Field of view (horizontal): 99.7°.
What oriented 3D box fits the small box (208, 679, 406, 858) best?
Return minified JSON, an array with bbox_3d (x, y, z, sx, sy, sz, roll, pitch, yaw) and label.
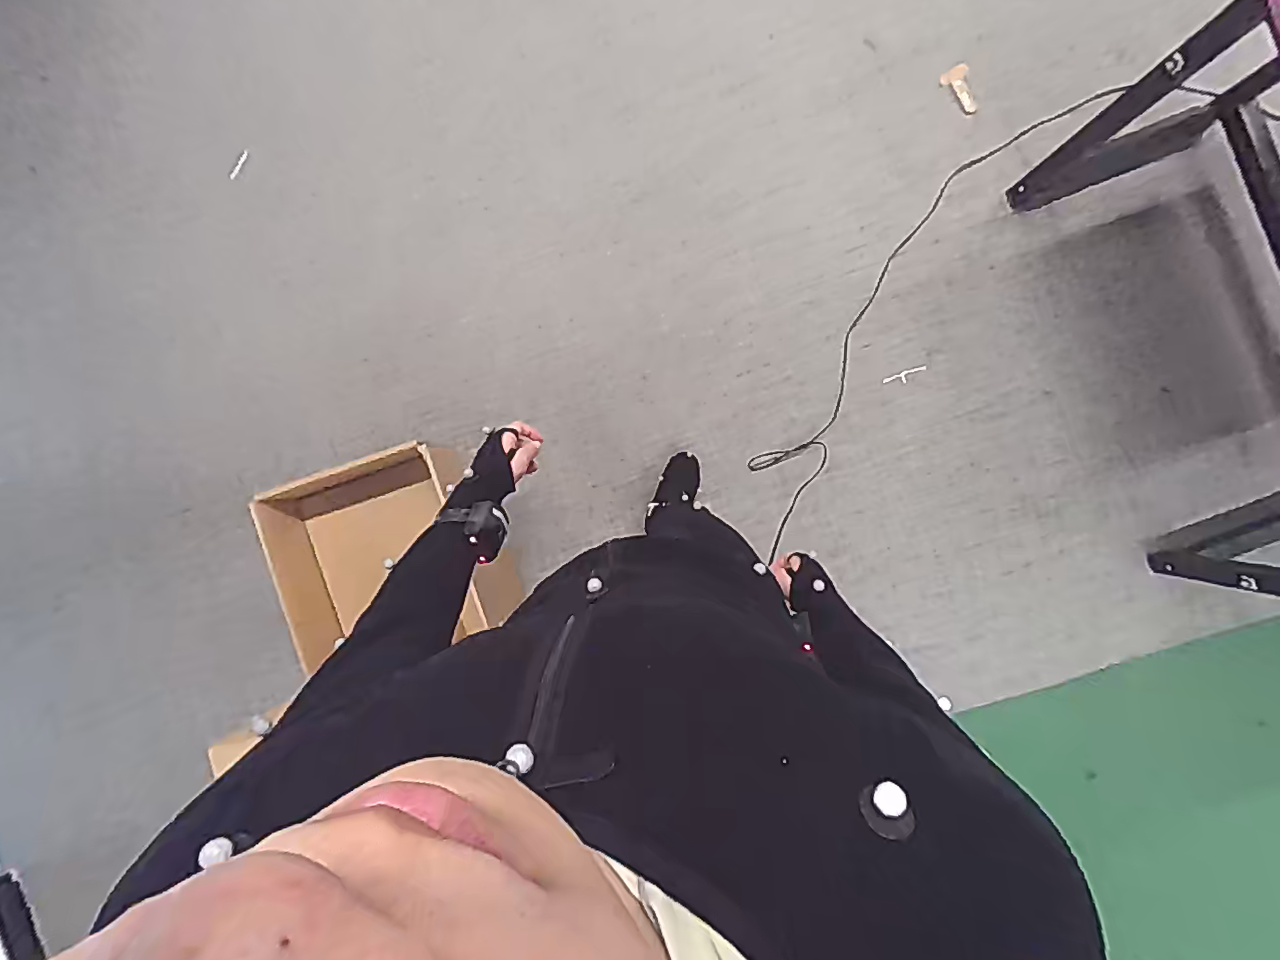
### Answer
[{"bbox_3d":[-0.495,0.428,0.828,0.179,0.176,0.168,-14,91,4],"label":"small box"}]
